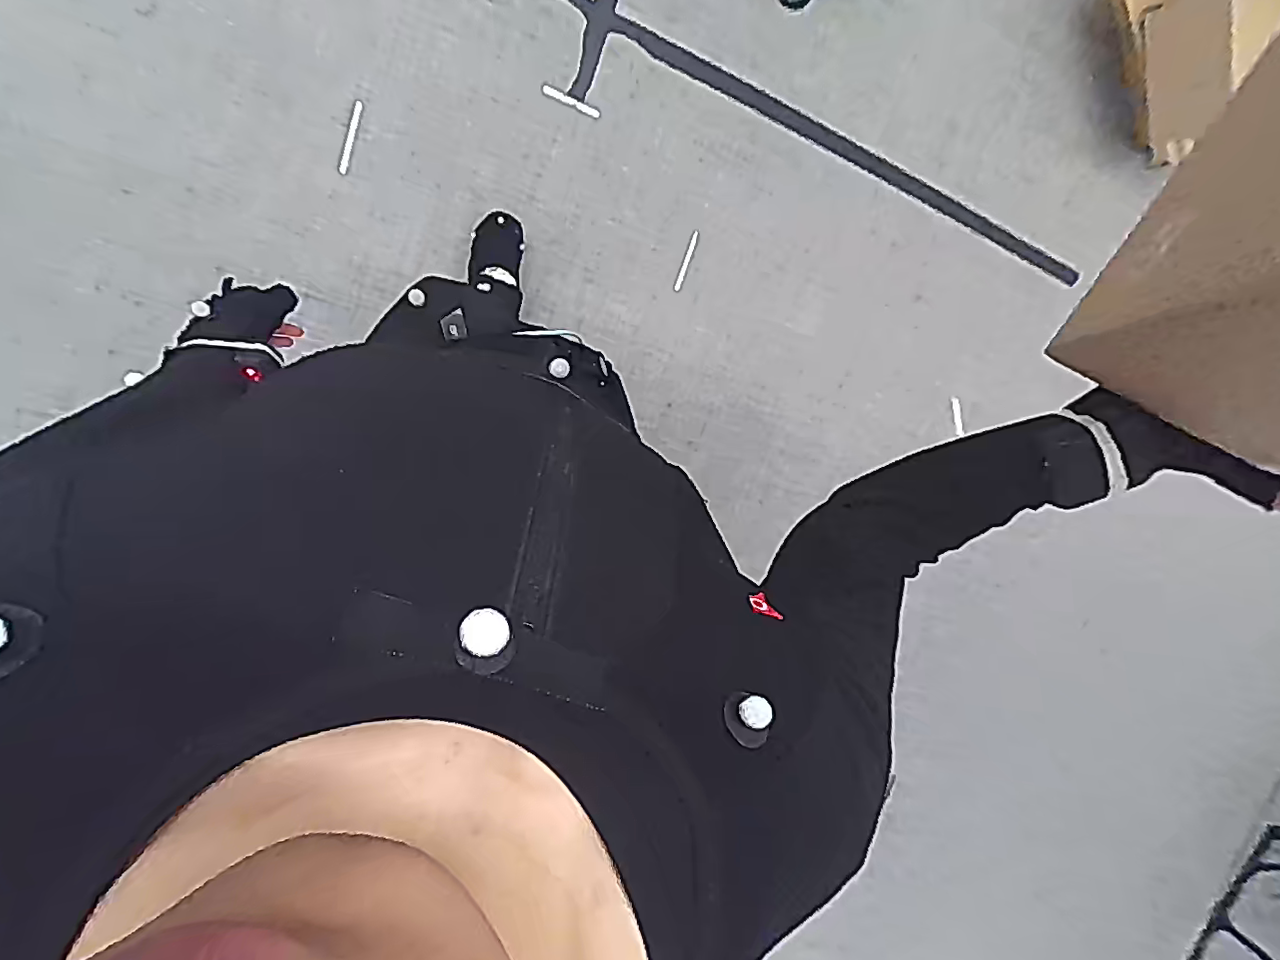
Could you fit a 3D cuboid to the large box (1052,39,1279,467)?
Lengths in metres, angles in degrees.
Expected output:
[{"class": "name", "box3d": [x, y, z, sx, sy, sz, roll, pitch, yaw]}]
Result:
[{"class": "large box", "box3d": [0.446, -0.120, 0.150, 0.320, 0.408, 0.320, 33, 107, 8]}]
